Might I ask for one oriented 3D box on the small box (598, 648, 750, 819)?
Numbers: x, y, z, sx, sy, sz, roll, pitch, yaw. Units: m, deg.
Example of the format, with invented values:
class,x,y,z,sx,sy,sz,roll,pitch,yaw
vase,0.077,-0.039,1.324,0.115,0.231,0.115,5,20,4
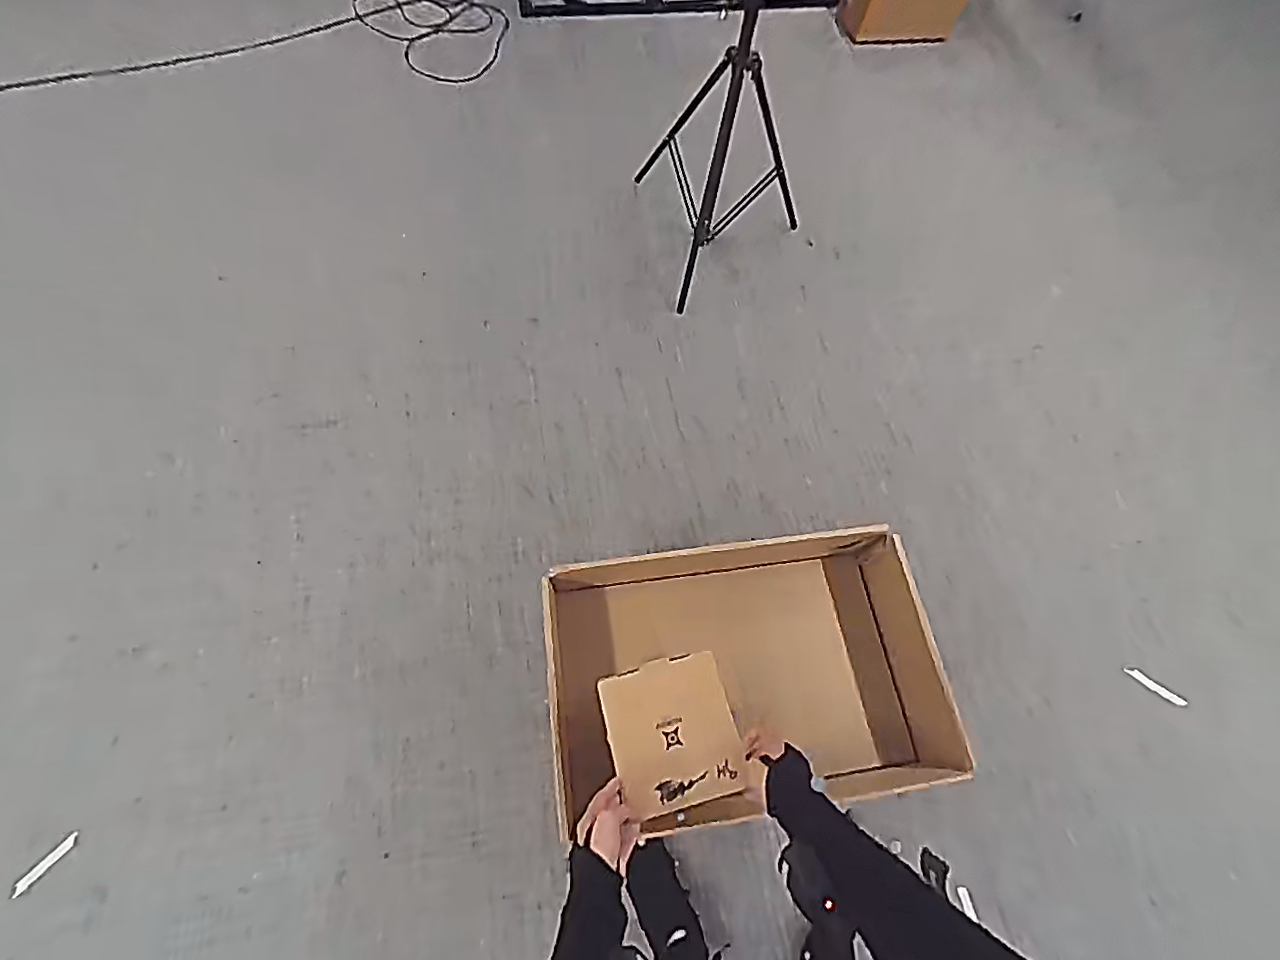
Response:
class,x,y,z,sx,sy,sz,roll,pitch,yaw
small box,0.047,0.364,0.781,0.168,0.176,0.179,-16,62,-1
